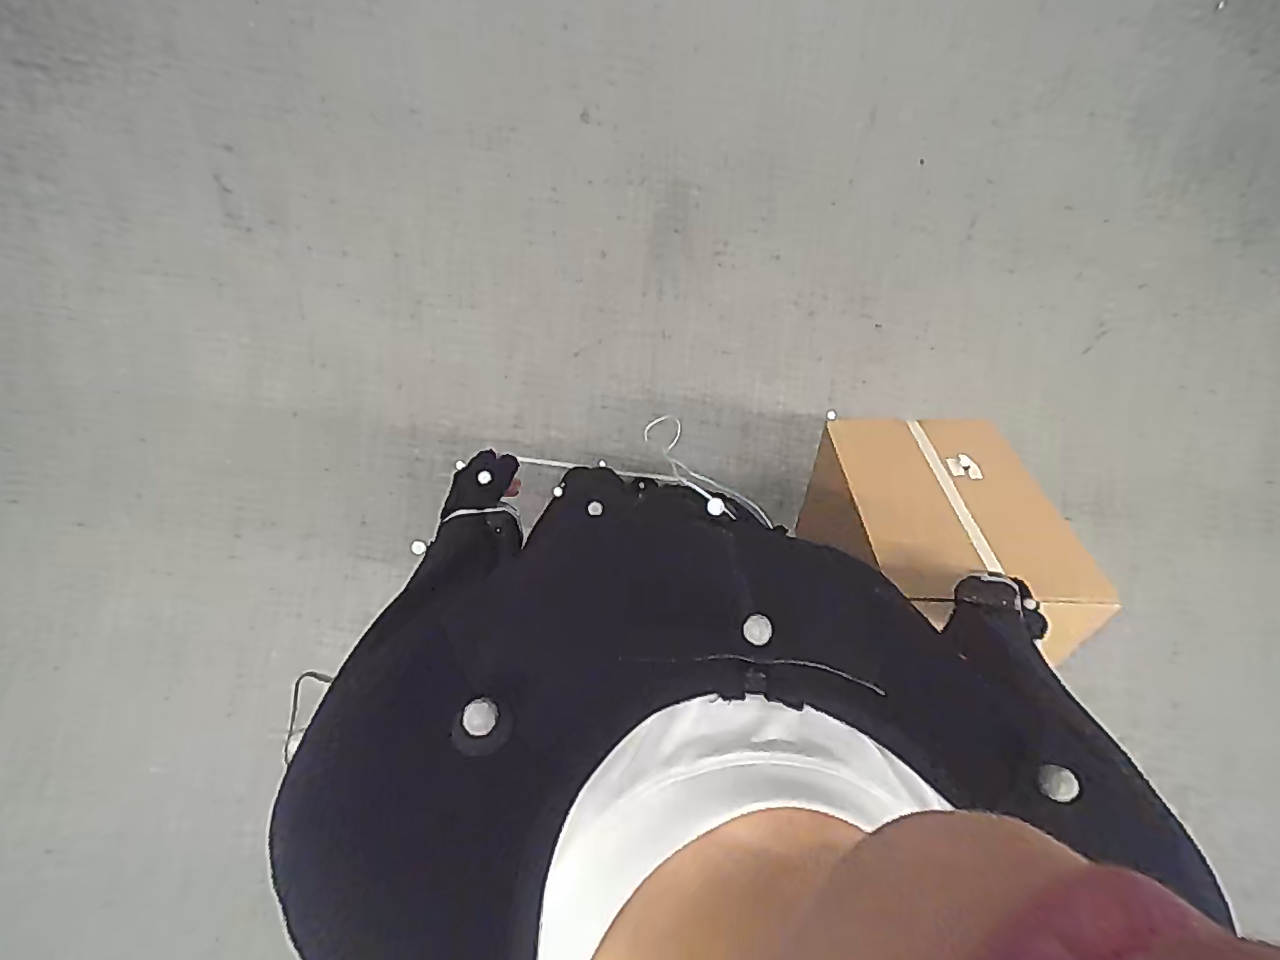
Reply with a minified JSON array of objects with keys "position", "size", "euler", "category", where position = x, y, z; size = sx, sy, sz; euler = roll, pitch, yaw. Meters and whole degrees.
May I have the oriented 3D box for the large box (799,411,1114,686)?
[{"position":[0.505,0.119,0.985],"size":[0.320,0.408,0.320],"euler":[1,134,1],"category":"large box"}]
